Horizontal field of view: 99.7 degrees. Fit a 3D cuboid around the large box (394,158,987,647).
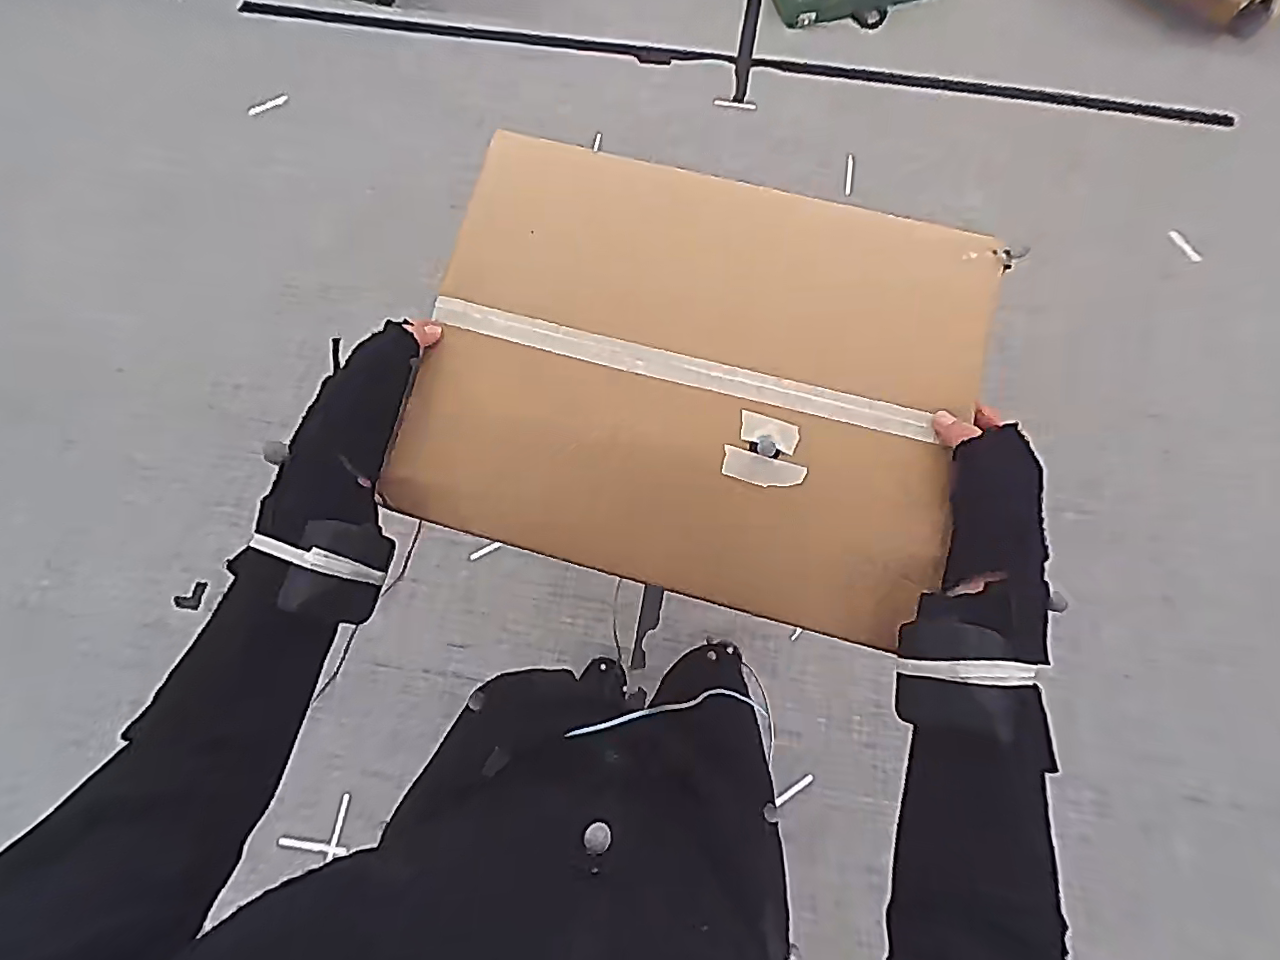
[{"bbox_3d":[0.044,-0.054,0.559,0.408,0.320,0.320,15,85,4],"label":"large box"}]
